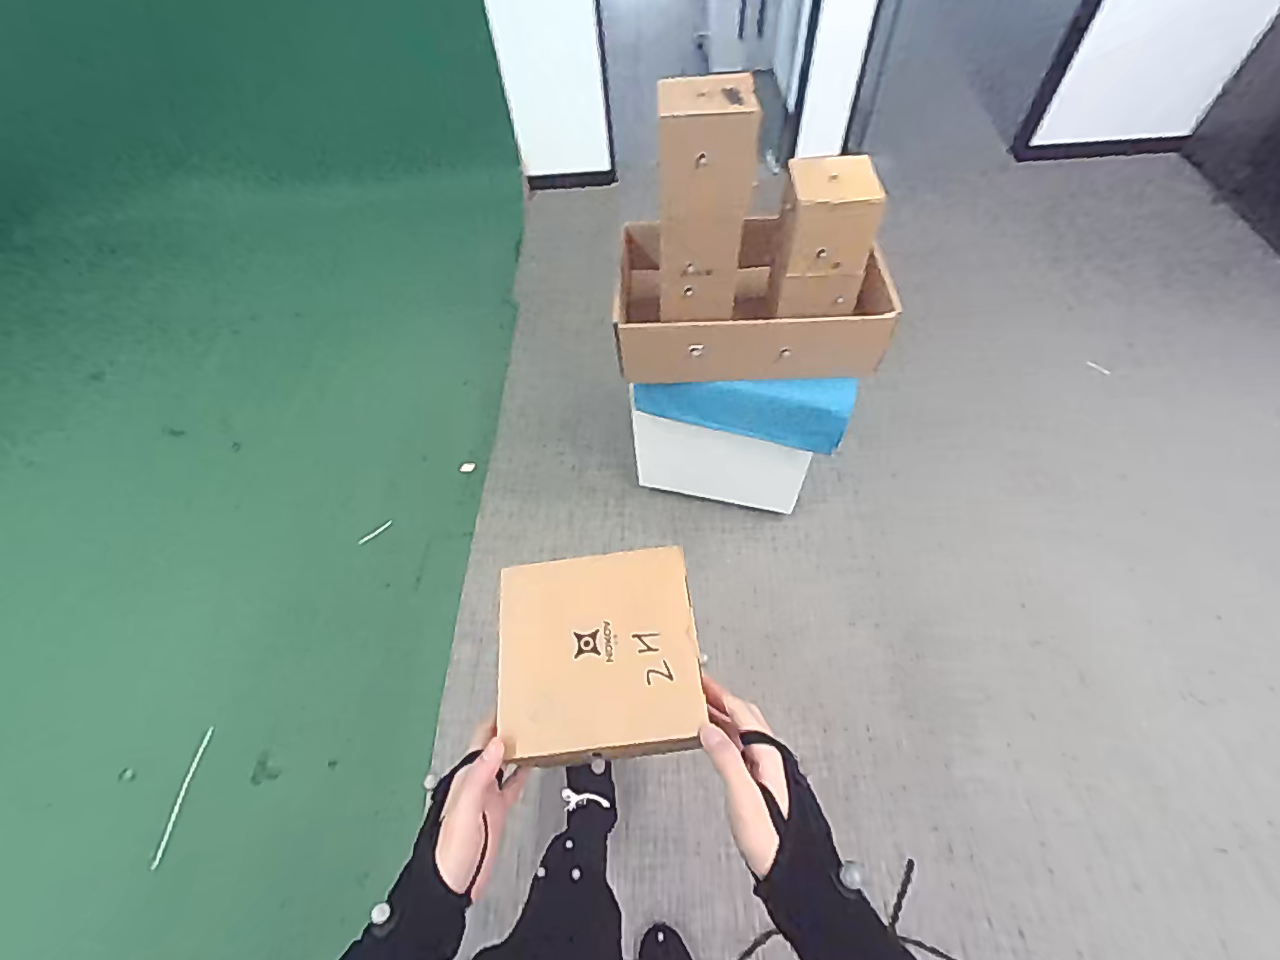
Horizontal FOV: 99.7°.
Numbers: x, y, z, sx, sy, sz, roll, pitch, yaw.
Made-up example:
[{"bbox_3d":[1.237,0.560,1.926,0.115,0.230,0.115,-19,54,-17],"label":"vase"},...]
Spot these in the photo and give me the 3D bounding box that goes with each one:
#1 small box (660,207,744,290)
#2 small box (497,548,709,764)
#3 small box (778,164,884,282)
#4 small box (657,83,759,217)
[{"bbox_3d":[0.128,-0.537,1.172,0.168,0.176,0.179,0,55,3],"label":"small box"},{"bbox_3d":[-0.029,0.183,0.542,0.179,0.176,0.168,-6,60,1],"label":"small box"},{"bbox_3d":[0.399,-0.549,1.161,0.168,0.176,0.179,0,55,4],"label":"small box"},{"bbox_3d":[0.123,-0.626,1.035,0.179,0.176,0.168,-1,54,4],"label":"small box"}]
